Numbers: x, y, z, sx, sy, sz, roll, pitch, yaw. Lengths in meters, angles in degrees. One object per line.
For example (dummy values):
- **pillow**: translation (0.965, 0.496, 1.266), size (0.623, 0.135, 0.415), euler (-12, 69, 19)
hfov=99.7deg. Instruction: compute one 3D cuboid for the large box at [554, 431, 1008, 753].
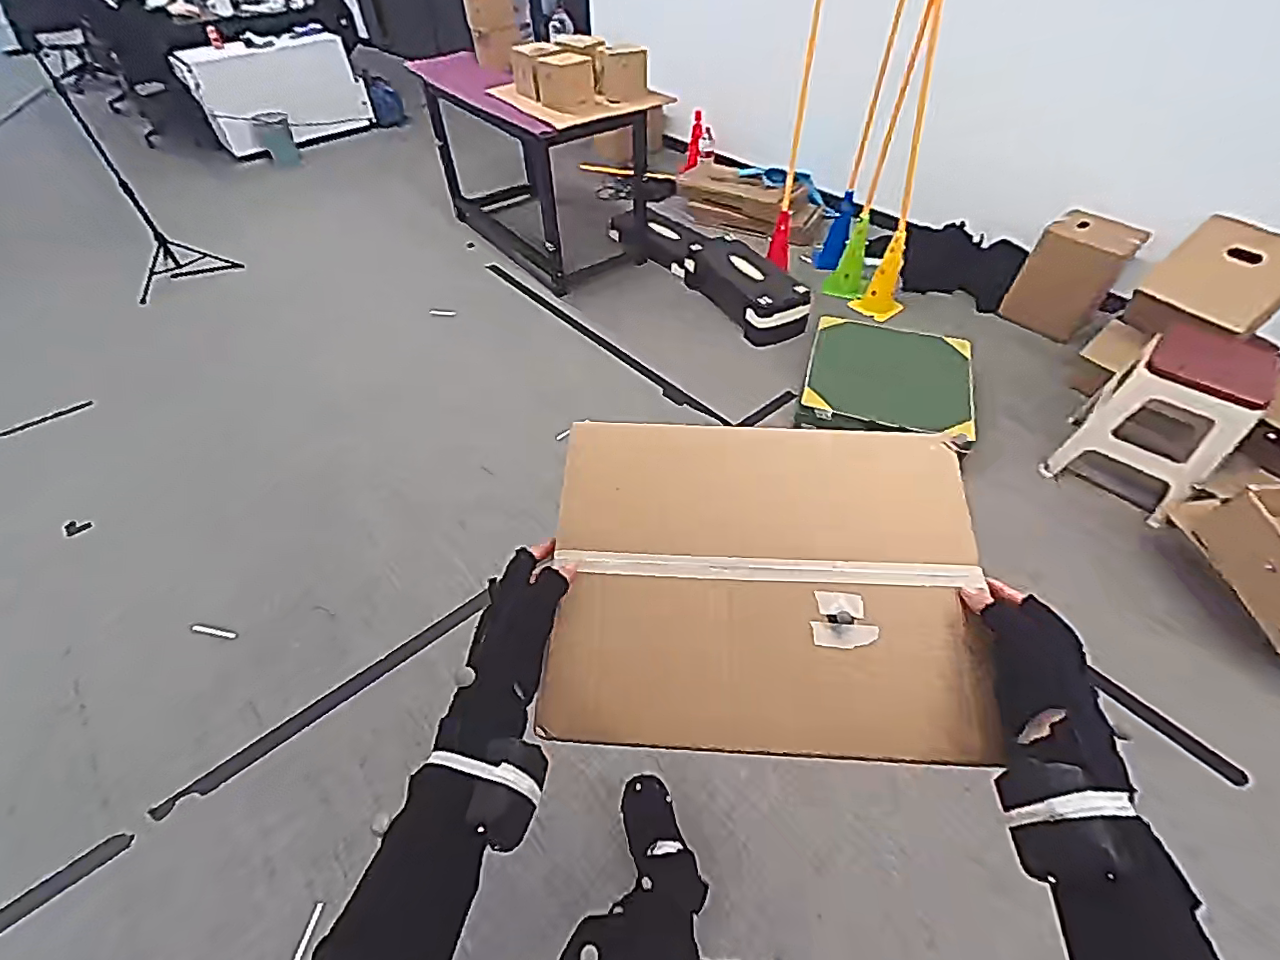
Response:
- **large box**: translation (0.127, 0.152, 0.666), size (0.408, 0.320, 0.320), euler (2, 66, 2)
